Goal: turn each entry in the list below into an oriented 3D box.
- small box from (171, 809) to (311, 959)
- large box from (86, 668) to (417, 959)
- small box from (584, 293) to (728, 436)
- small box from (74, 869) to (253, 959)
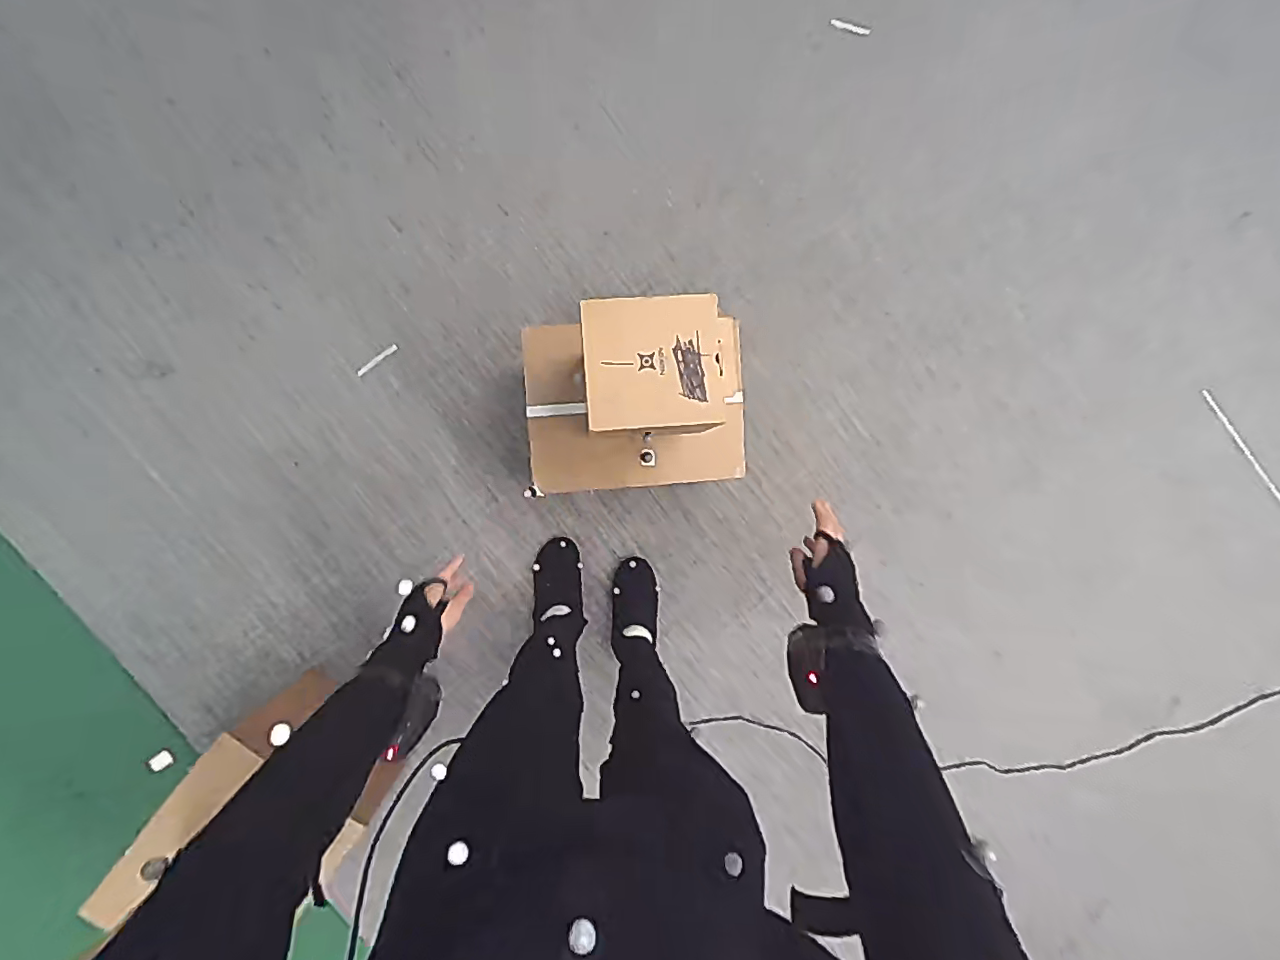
[{"bbox_3d":[-0.681,0.681,0.868,0.179,0.176,0.168,44,86,-5],"label":"small box"},{"bbox_3d":[-0.744,0.678,1.109,0.320,0.320,0.408,38,89,-4],"label":"large box"},{"bbox_3d":[0.014,-0.152,0.754,0.179,0.176,0.168,-4,91,-4],"label":"small box"},{"bbox_3d":[-0.669,0.676,0.707,0.168,0.176,0.179,45,86,-4],"label":"small box"}]
